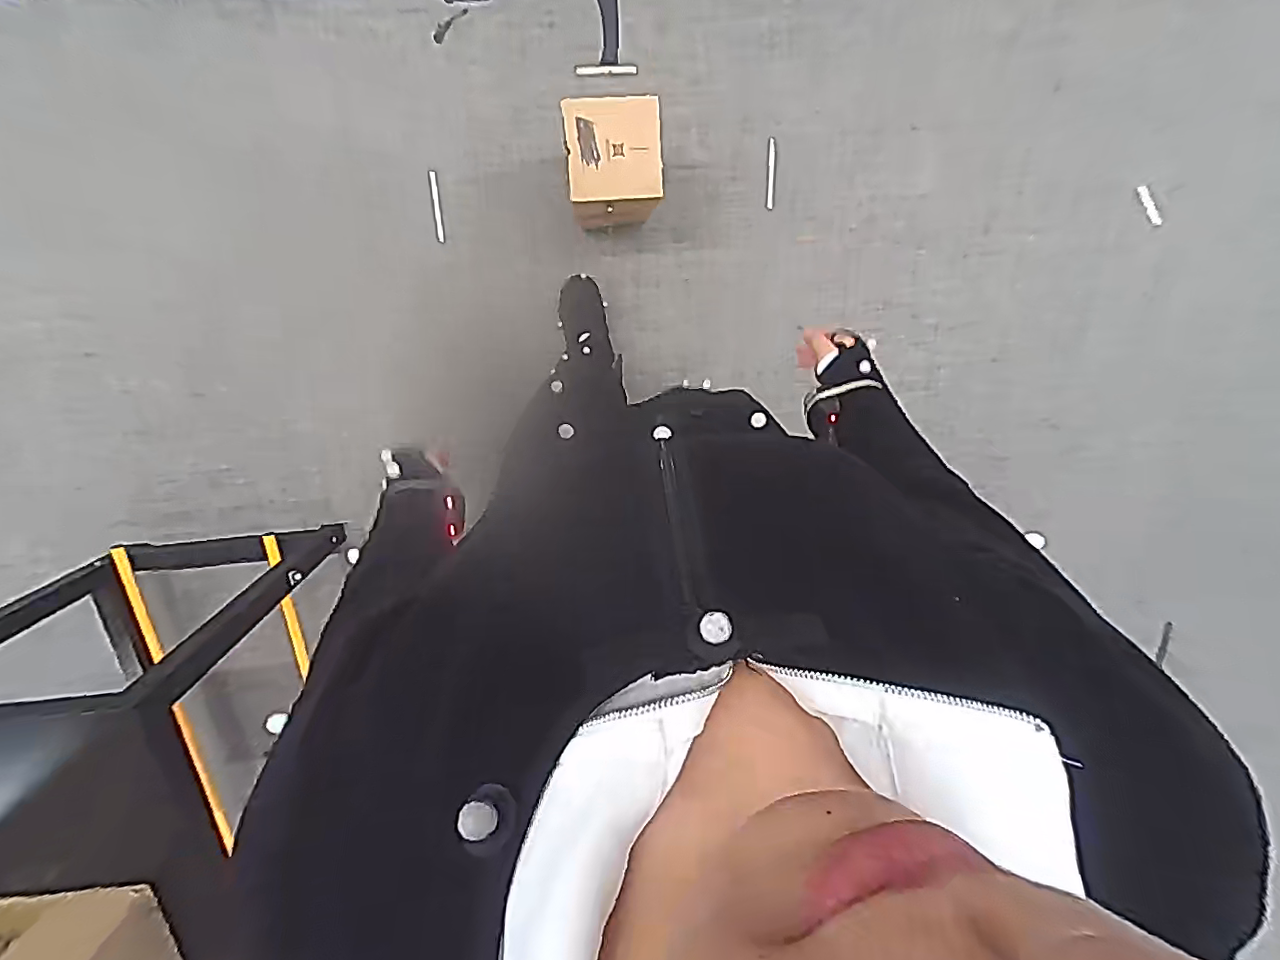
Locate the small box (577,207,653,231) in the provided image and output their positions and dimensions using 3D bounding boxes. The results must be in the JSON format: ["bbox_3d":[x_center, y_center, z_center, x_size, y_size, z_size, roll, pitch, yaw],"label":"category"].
[{"bbox_3d":[-0.069,-0.669,1.206,0.168,0.176,0.179,-9,110,-1],"label":"small box"}]

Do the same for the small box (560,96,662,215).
[{"bbox_3d":[-0.055,-0.619,1.050,0.179,0.176,0.168,-5,109,-3],"label":"small box"}]
